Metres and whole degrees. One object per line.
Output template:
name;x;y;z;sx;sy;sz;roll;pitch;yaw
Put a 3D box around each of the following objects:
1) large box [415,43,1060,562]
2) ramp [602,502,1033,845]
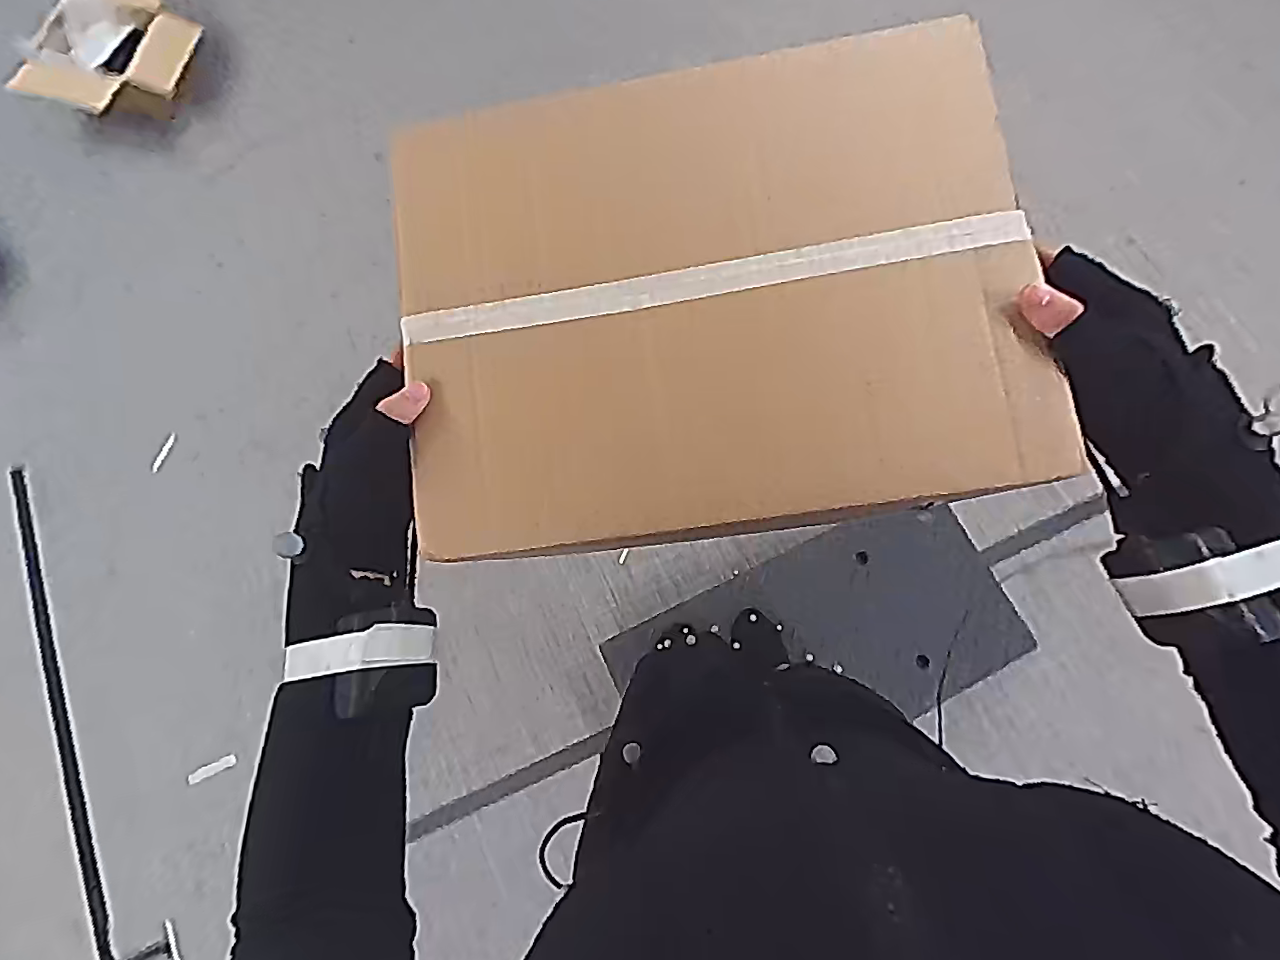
large box;0.062;-0.105;0.512;0.408;0.320;0.320;-7;82;5
ramp;0.453;0.409;1.356;0.991;0.206;0.509;-29;75;0
